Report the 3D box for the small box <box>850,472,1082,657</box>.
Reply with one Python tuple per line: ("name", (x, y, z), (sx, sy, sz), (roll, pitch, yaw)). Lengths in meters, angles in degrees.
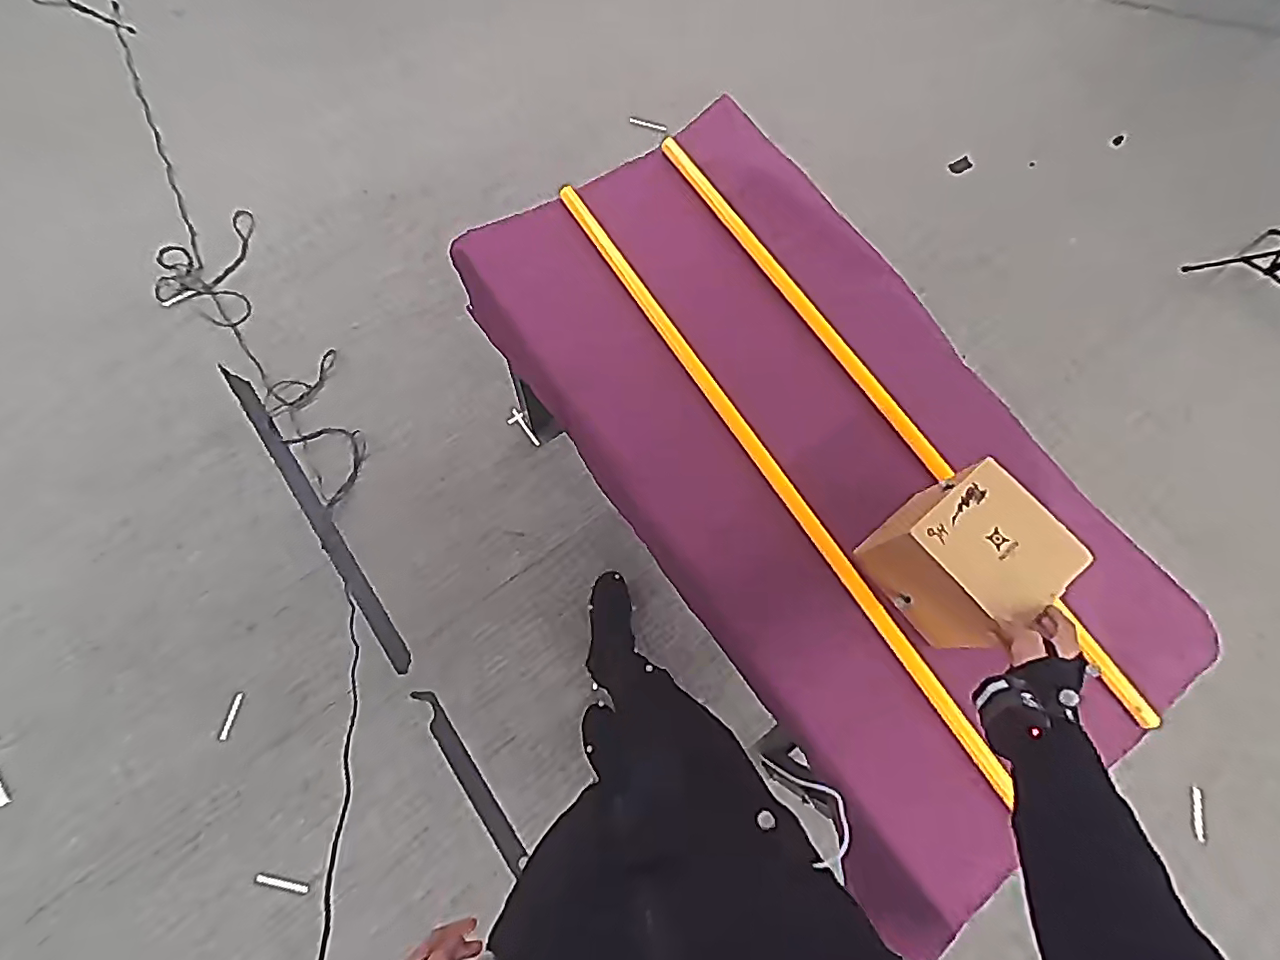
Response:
("small box", (0.435, 0.121, 0.752), (0.168, 0.176, 0.179), (-36, 79, -14))
